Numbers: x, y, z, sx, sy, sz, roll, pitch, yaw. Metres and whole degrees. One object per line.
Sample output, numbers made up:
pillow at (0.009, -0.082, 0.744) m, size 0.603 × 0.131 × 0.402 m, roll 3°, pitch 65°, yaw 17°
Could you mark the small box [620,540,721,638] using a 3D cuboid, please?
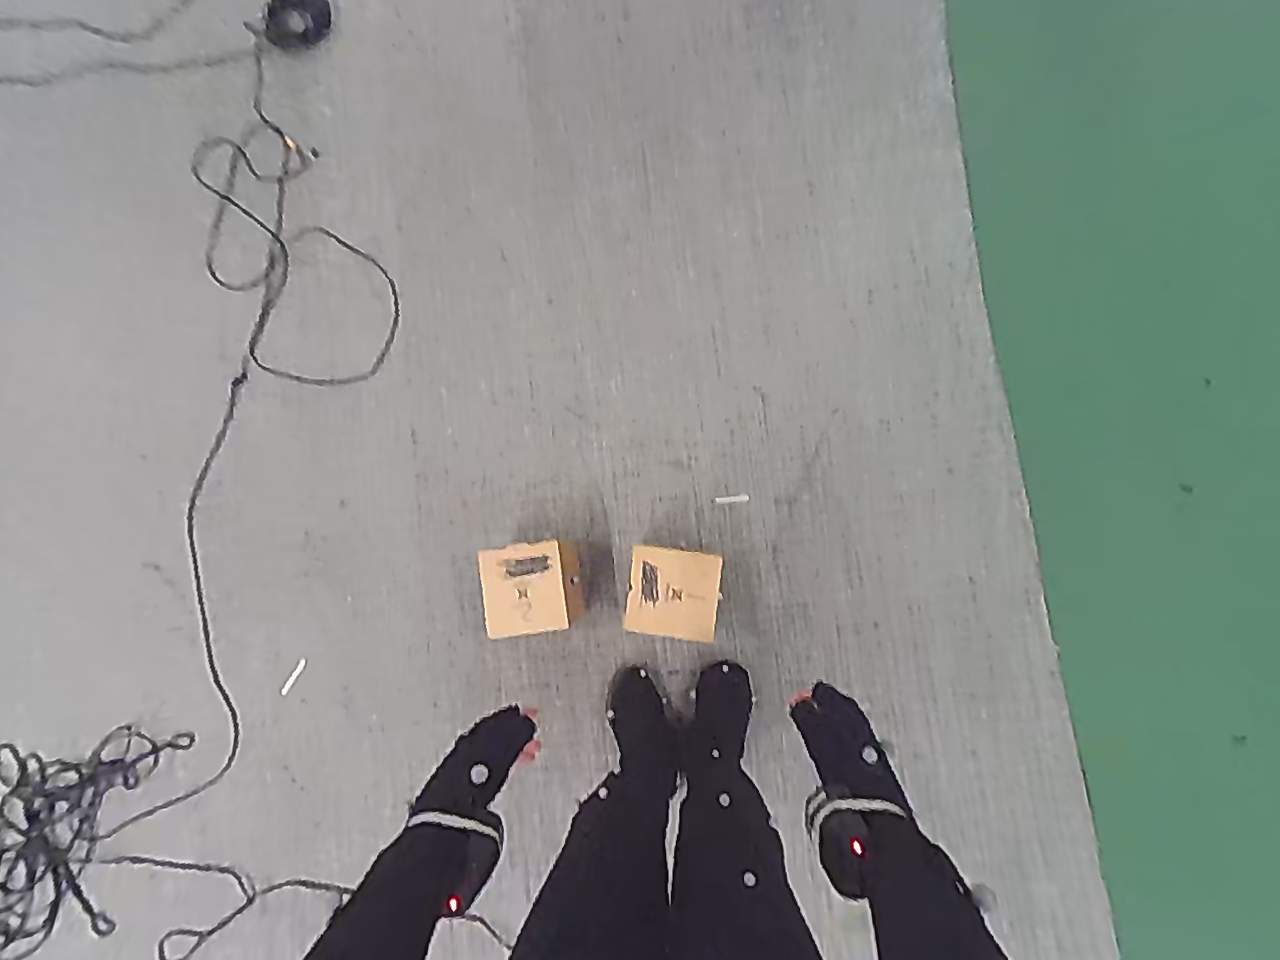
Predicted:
small box at (0.064, 0.217, 1.114) m, size 0.179 × 0.176 × 0.168 m, roll 7°, pitch 86°, yaw 5°
